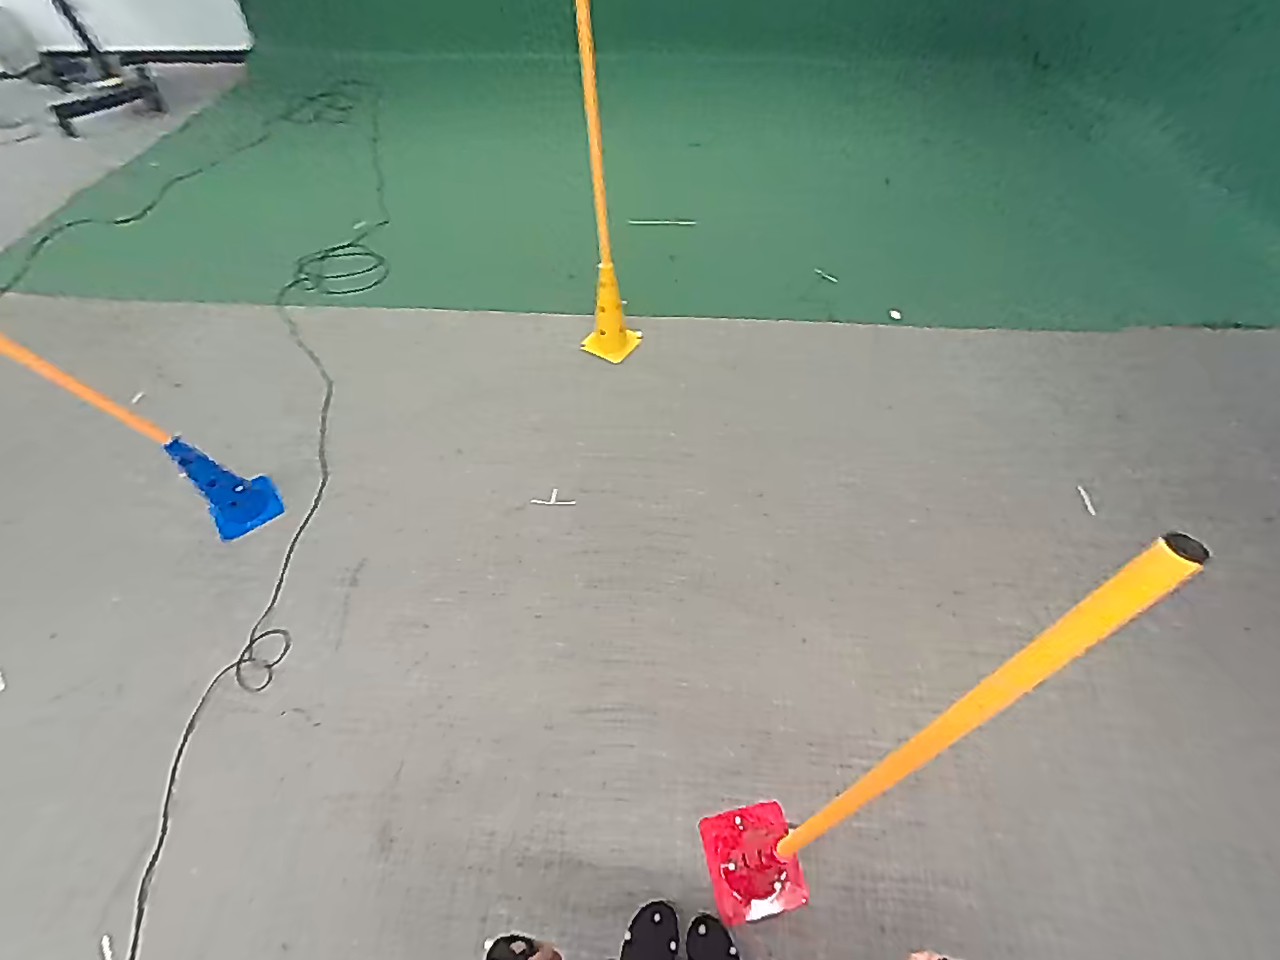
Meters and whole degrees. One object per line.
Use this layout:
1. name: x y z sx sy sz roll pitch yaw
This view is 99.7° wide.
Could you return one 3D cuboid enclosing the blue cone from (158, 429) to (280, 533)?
1. blue cone: -1.301 -0.019 1.639 0.193 0.380 0.192 -36 62 -20
